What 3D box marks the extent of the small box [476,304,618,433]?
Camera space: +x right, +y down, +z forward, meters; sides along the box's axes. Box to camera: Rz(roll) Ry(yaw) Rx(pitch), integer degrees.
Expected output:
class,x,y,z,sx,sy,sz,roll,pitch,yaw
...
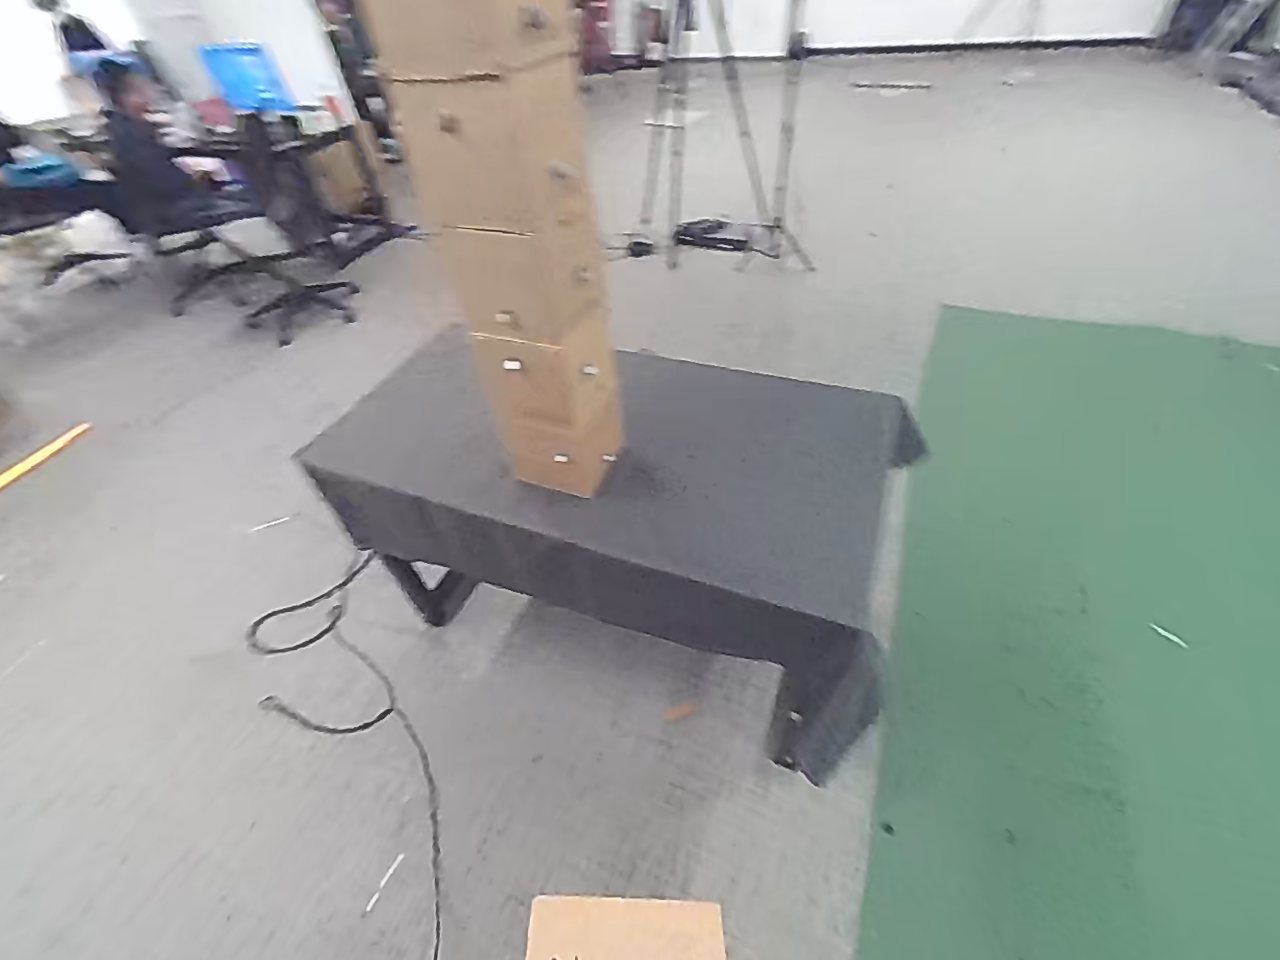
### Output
class,x,y,z,sx,sy,sz,roll,pitch,yaw
small box,-0.149,-0.204,0.951,0.179,0.176,0.168,13,48,19

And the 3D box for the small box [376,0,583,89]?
class,x,y,z,sx,sy,sz,roll,pitch,yaw
small box,-0.186,-0.559,0.613,0.179,0.176,0.168,15,50,21

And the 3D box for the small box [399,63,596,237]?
class,x,y,z,sx,sy,sz,roll,pitch,yaw
small box,-0.177,-0.444,0.730,0.179,0.176,0.168,14,48,19

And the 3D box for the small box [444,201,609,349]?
class,x,y,z,sx,sy,sz,roll,pitch,yaw
small box,-0.161,-0.324,0.841,0.179,0.176,0.168,15,48,20
